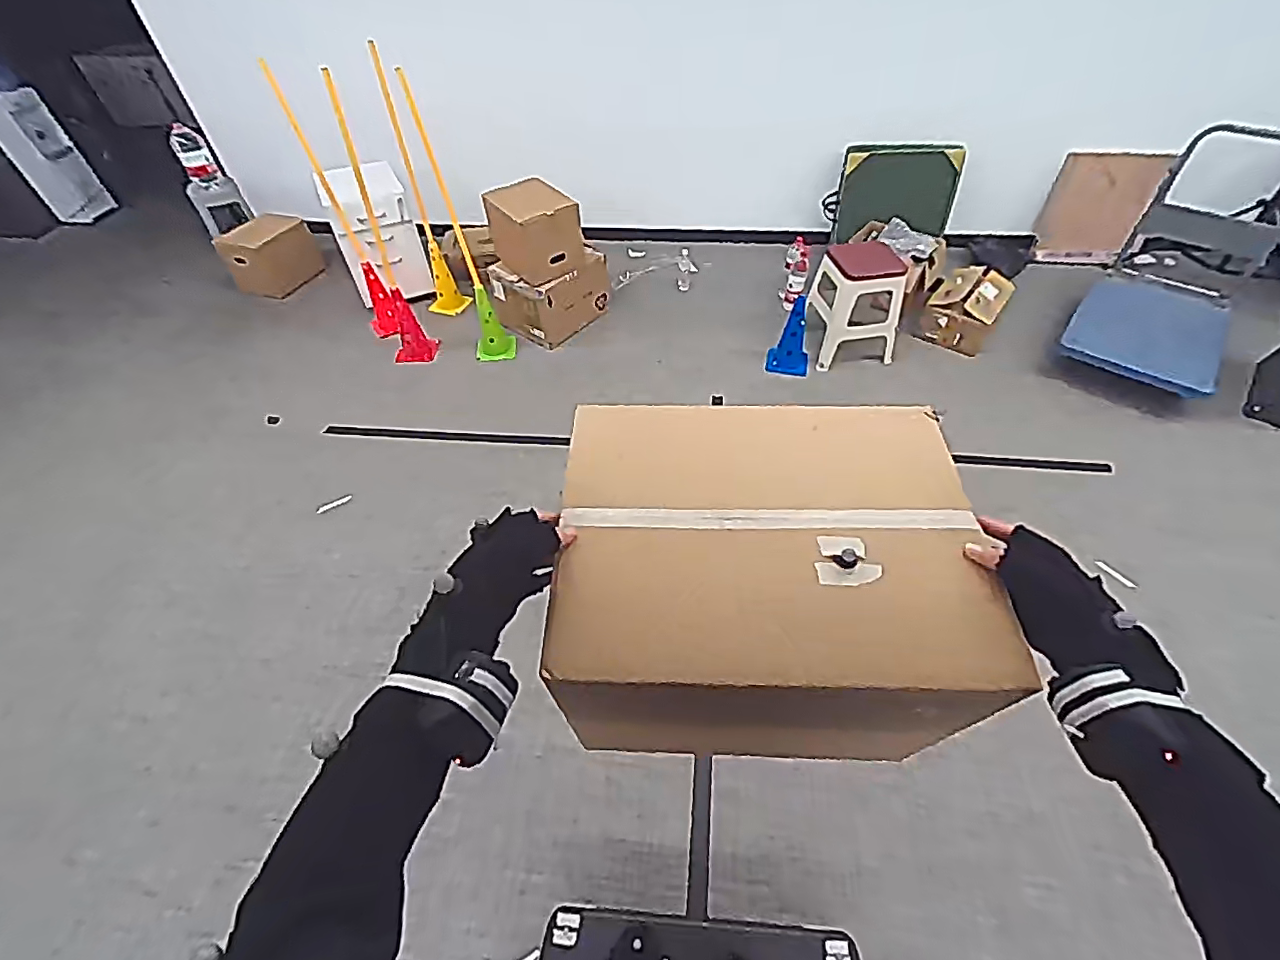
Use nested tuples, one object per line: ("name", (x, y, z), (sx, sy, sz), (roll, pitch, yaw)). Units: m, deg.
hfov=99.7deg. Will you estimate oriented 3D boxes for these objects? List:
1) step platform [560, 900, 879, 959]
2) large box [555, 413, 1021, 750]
("step platform", (0.162, 1.085, 1.137), (0.684, 0.204, 0.286), (2, 49, 3))
("large box", (0.126, 0.134, 0.662), (0.408, 0.320, 0.320), (0, 54, 2))
